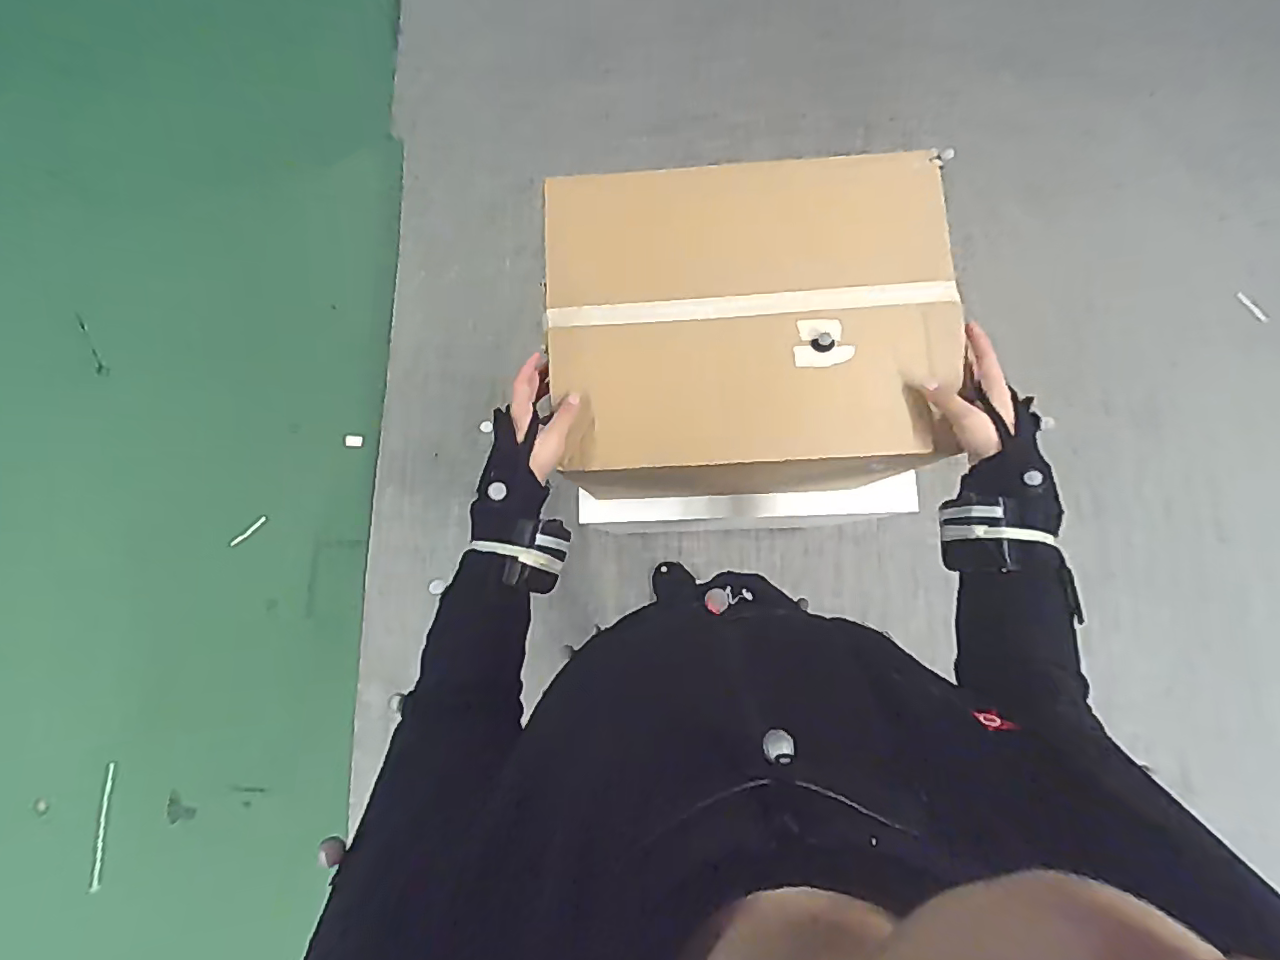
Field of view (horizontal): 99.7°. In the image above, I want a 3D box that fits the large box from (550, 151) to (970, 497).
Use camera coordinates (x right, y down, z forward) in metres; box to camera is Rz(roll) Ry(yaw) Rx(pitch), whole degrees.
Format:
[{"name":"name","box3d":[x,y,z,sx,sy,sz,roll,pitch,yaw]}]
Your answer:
[{"name":"large box","box3d":[0.115,-0.158,0.690,0.408,0.320,0.320,-3,83,1]}]
